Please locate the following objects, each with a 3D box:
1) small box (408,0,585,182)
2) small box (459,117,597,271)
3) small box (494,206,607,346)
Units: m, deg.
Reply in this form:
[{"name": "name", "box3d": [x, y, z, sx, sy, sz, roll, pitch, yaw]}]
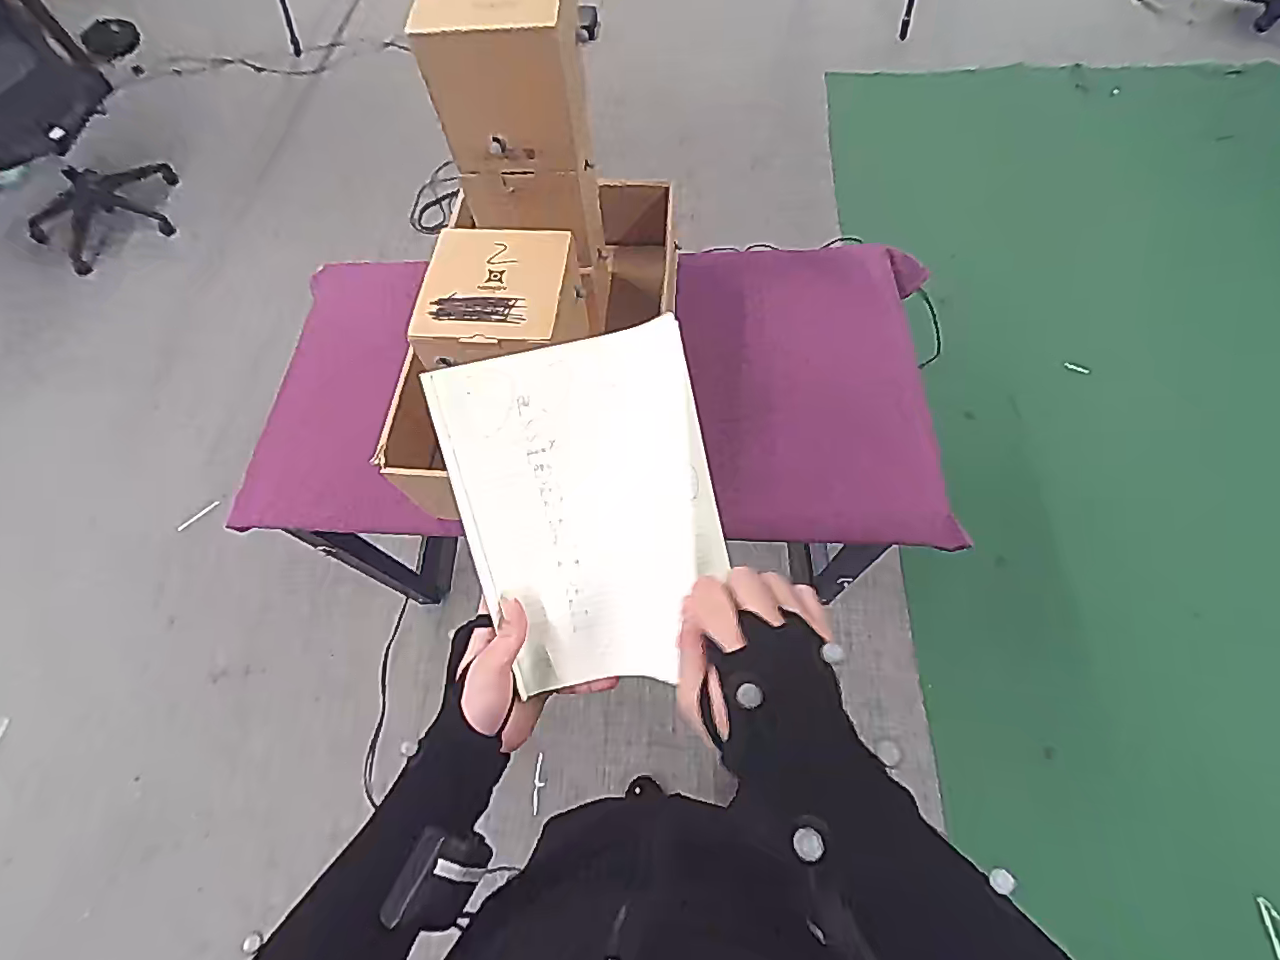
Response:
[{"name": "small box", "box3d": [-0.165, -0.512, 0.687, 0.168, 0.176, 0.179, 0, 66, 3]}, {"name": "small box", "box3d": [-0.159, -0.444, 0.835, 0.168, 0.176, 0.179, 0, 65, 3]}, {"name": "small box", "box3d": [-0.152, -0.367, 0.980, 0.168, 0.176, 0.179, 0, 66, 3]}]
